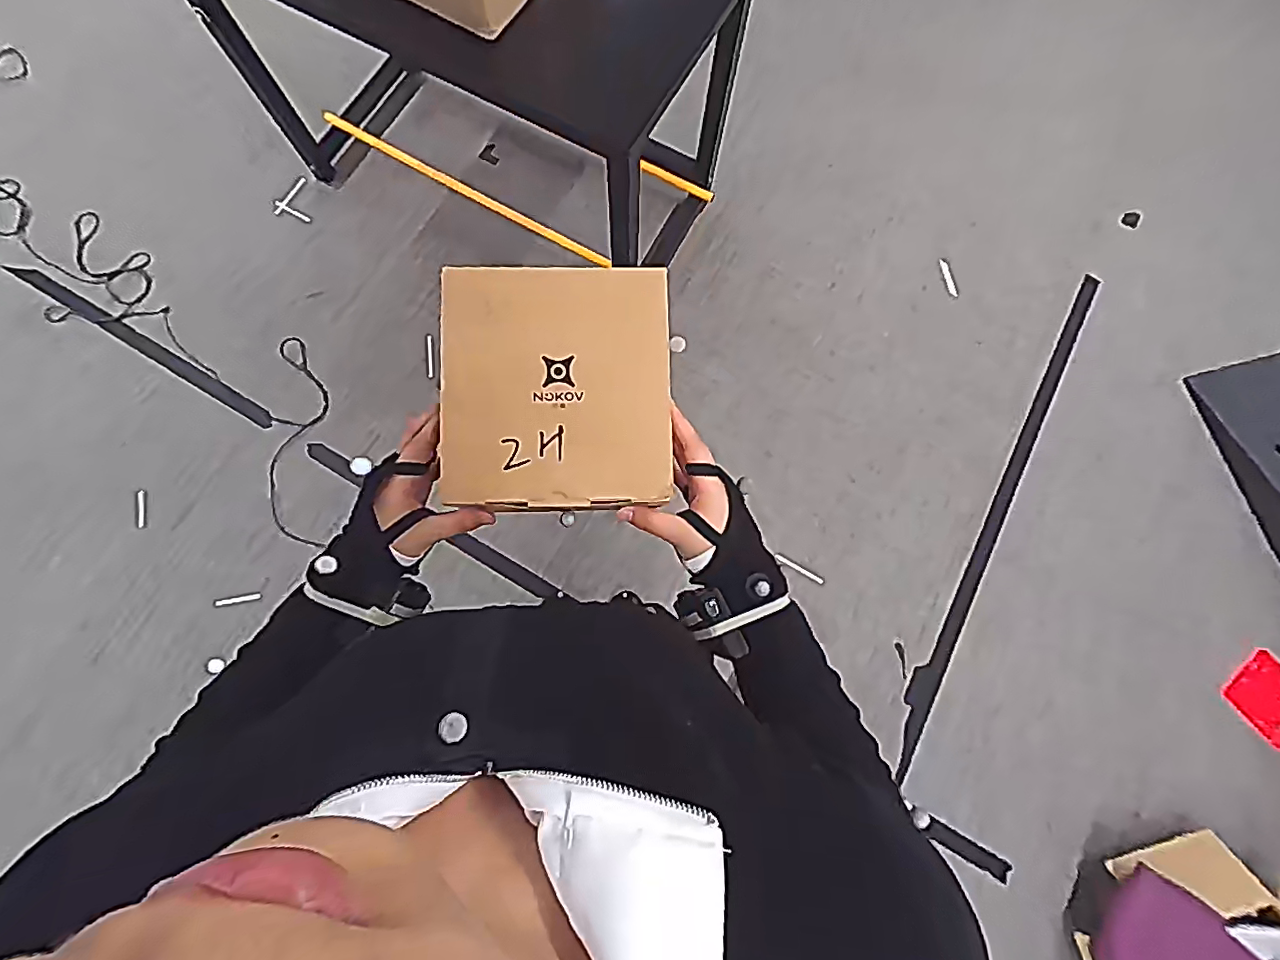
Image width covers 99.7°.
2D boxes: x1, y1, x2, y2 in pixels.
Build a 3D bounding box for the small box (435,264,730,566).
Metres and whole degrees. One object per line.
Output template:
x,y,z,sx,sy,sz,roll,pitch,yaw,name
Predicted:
-0.037,-0.032,0.387,0.168,0.176,0.179,-2,85,-3,small box
